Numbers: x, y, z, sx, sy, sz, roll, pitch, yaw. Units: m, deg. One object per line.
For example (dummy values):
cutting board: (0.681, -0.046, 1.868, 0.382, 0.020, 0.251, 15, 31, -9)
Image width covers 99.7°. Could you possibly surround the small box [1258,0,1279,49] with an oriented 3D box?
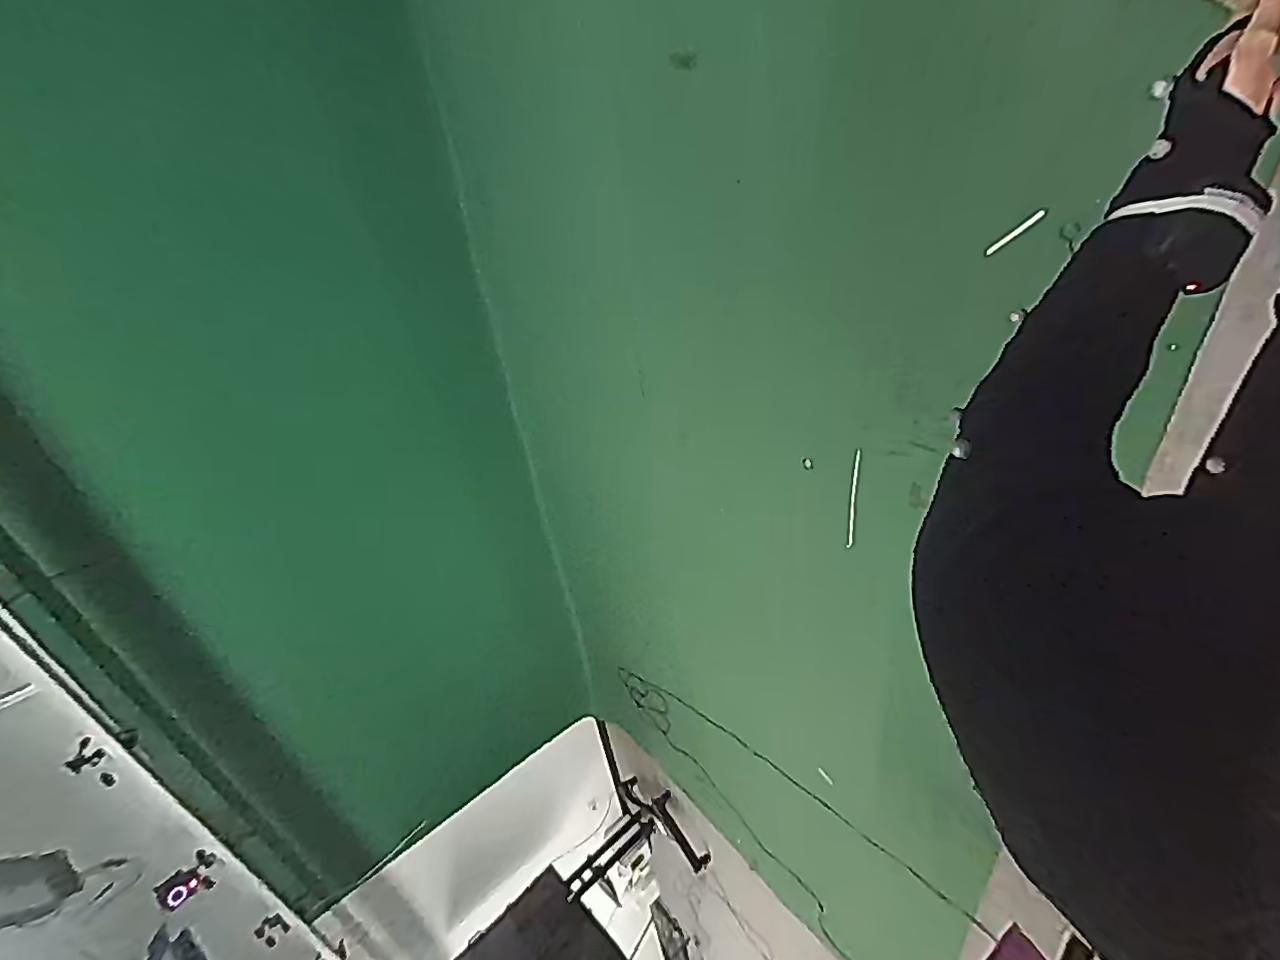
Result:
small box: (0.479, -0.366, 0.283, 0.179, 0.176, 0.168, 13, 115, 40)
